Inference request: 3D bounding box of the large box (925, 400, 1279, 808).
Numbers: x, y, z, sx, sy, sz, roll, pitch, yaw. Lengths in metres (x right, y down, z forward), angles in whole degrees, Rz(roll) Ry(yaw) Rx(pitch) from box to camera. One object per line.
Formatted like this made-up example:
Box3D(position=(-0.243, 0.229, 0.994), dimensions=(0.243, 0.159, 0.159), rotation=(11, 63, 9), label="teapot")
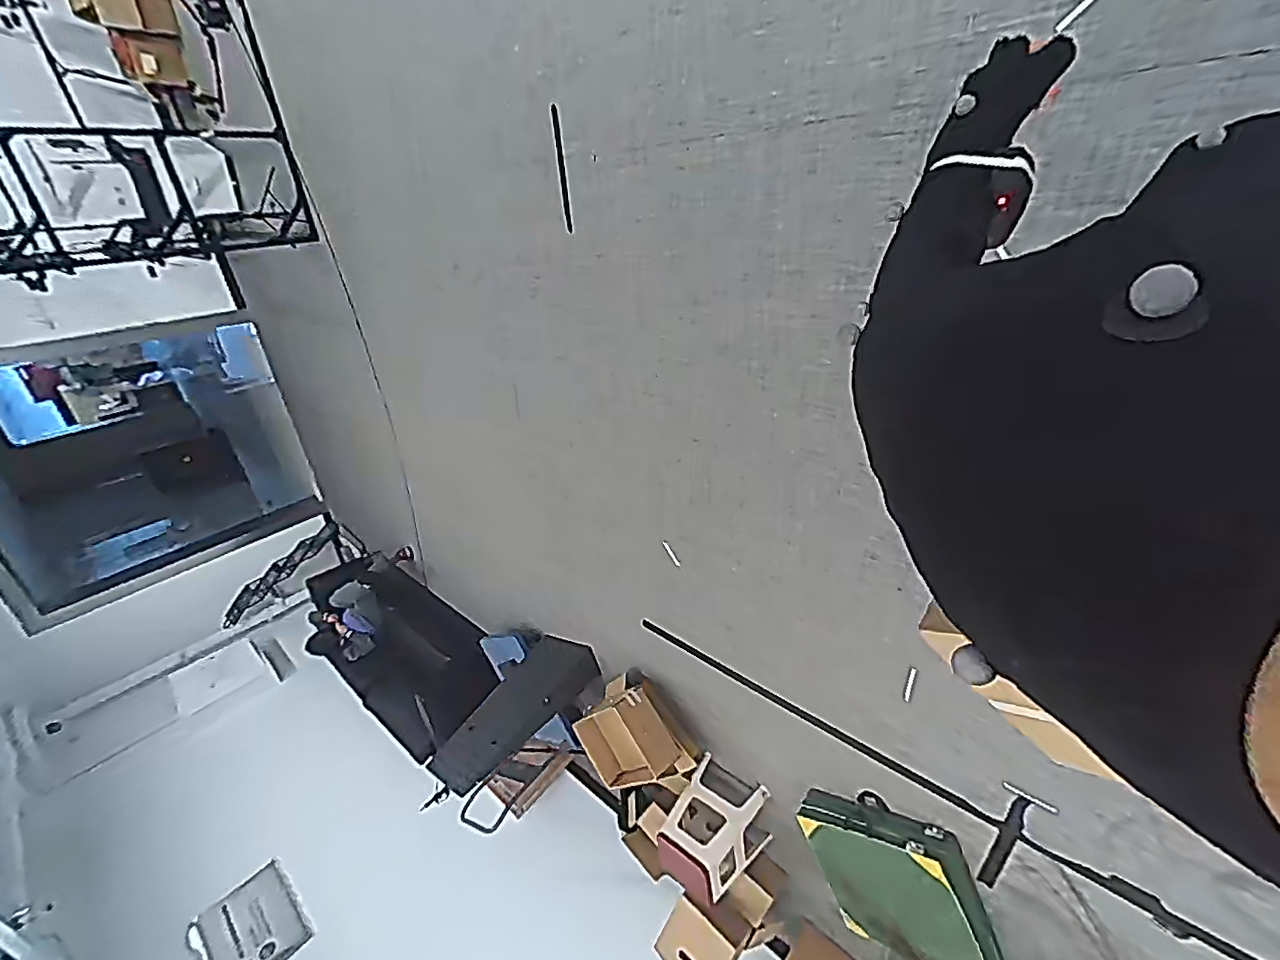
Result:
Box3D(position=(0.648, 0.142, 0.628), dimensions=(0.320, 0.320, 0.408), rotation=(43, 159, -9), label="large box")
